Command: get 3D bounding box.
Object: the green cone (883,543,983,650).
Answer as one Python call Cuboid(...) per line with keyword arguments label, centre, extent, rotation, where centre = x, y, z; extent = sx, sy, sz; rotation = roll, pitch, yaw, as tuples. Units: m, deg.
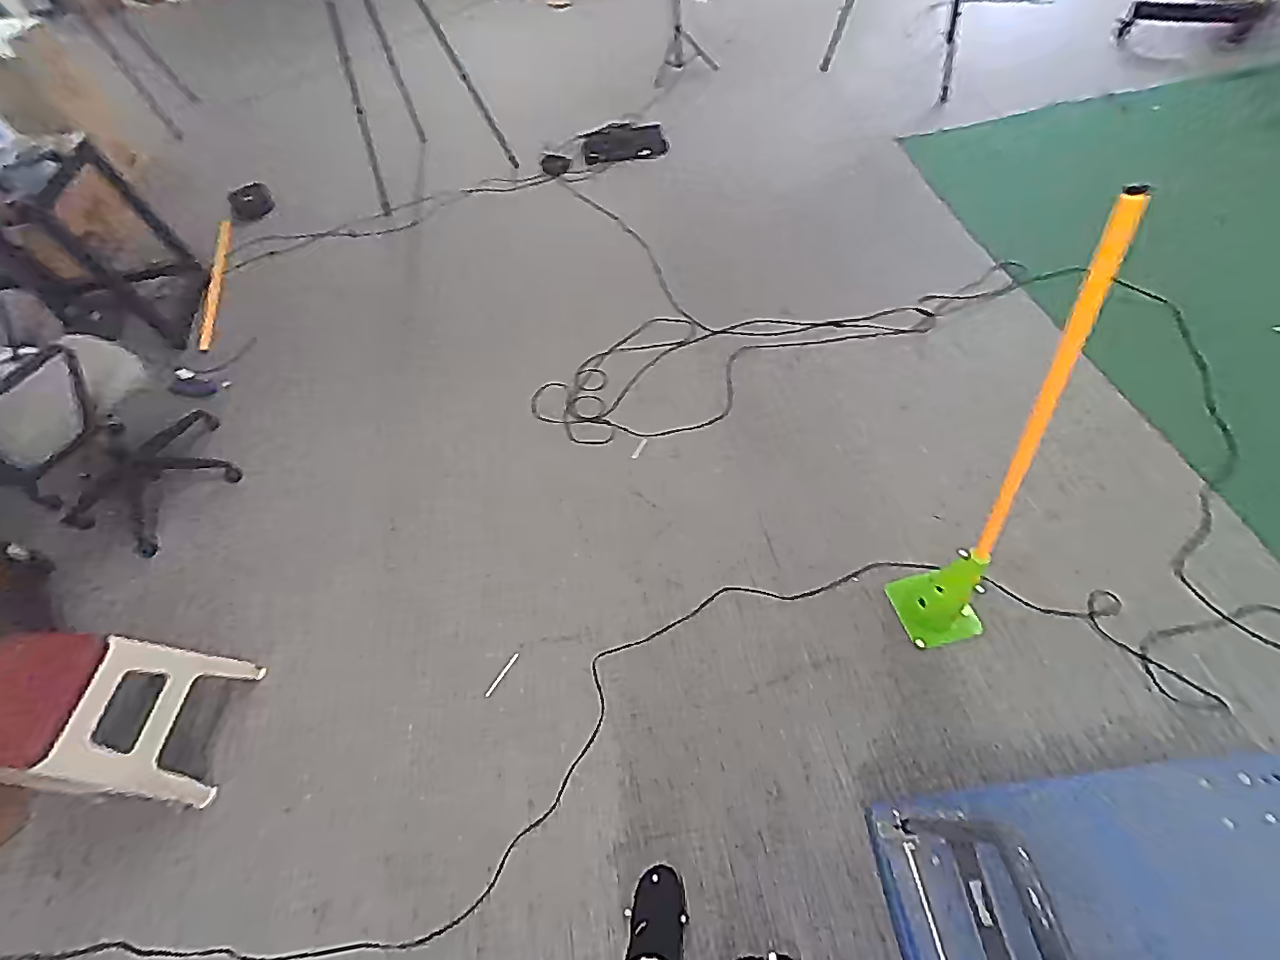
Cuboid(label="green cone", centre=(0.801, 0.267, 1.389), extent=(0.200, 0.368, 0.202), rotation=(-16, 54, -2))
